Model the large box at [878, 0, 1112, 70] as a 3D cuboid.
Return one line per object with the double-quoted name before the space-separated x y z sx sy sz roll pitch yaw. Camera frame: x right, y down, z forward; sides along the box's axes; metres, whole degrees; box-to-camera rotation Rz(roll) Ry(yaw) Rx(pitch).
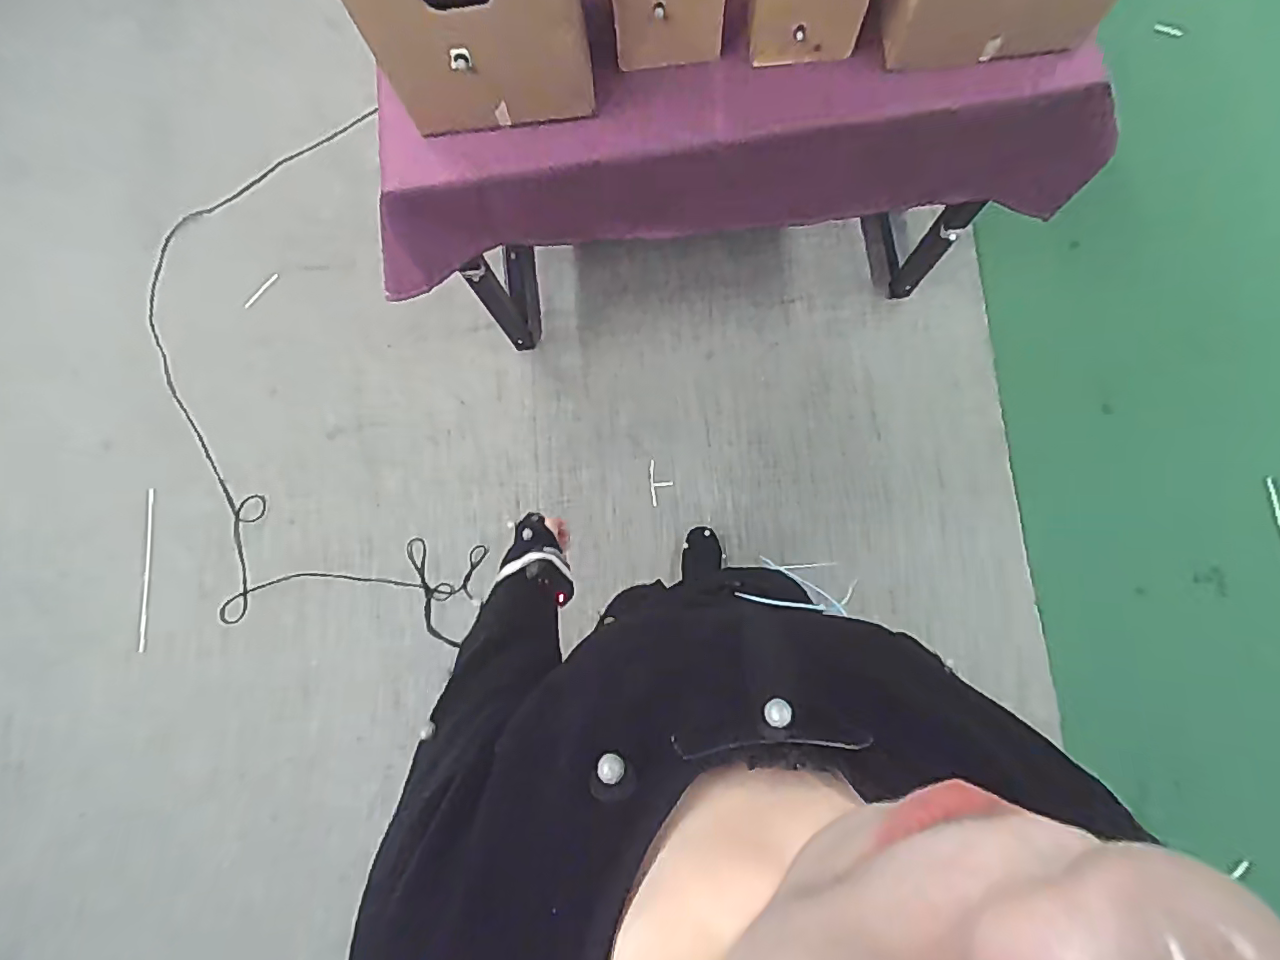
"large box" 0.544 -0.911 0.780 0.320 0.320 0.408 -4 82 3
